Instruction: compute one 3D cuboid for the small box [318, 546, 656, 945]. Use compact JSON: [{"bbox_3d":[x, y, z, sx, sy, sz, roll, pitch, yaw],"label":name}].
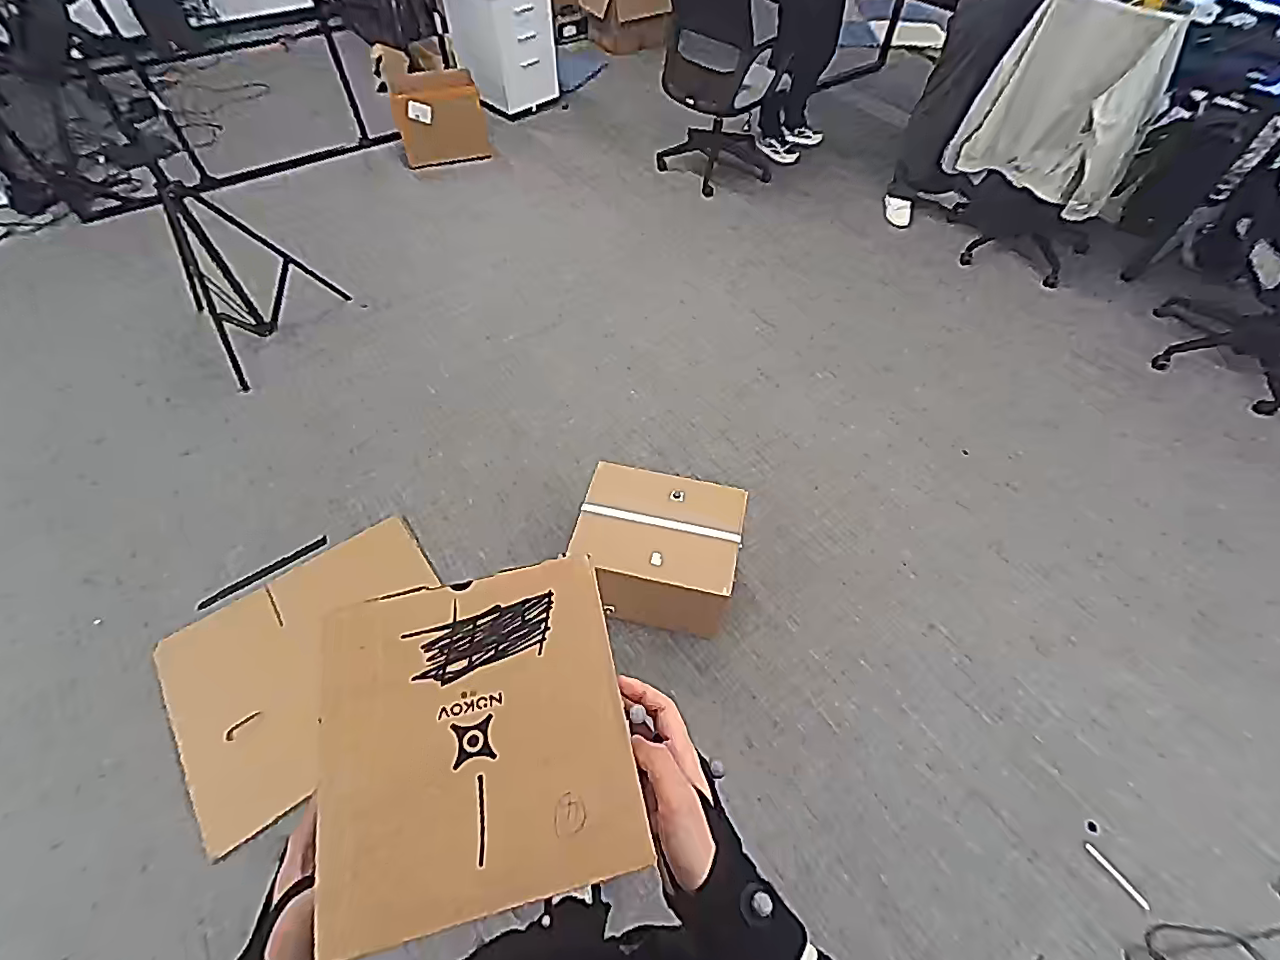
[{"bbox_3d":[-0.091,0.171,0.372,0.168,0.176,0.179,-12,61,-7],"label":"small box"}]
